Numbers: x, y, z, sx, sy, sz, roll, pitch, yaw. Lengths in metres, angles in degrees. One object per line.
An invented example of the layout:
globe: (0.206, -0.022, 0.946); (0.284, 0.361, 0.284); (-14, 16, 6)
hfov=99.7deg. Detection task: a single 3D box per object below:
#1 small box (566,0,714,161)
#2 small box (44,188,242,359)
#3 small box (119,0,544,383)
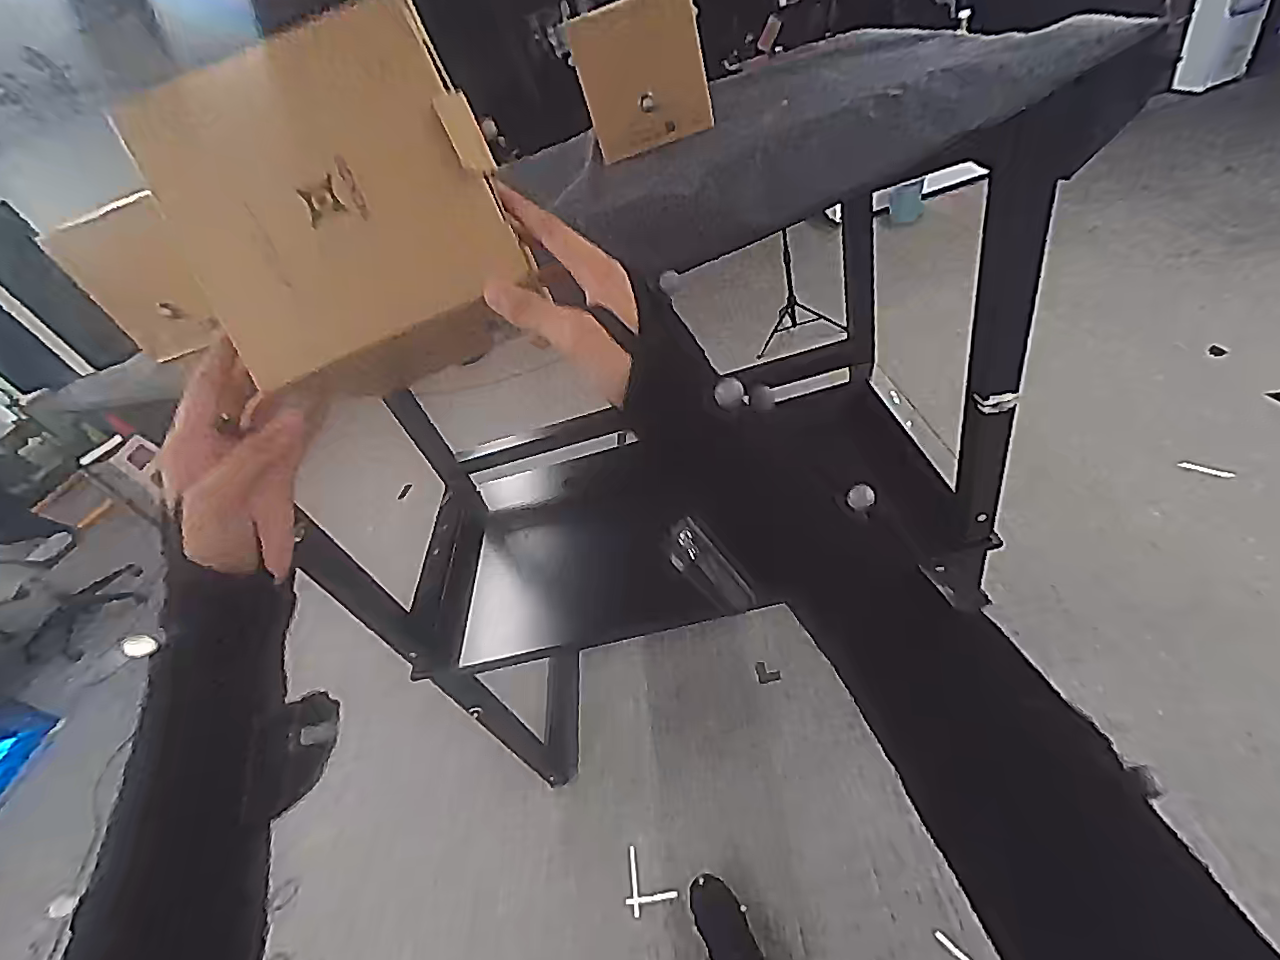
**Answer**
small box: (0.005, -0.594, 0.793); (0.168, 0.176, 0.179); (-14, 40, 10)
small box: (-0.576, -0.286, 0.710); (0.168, 0.176, 0.179); (-17, 40, 5)
small box: (-0.178, -0.178, 0.383); (0.179, 0.168, 0.176); (-24, 9, 0)
